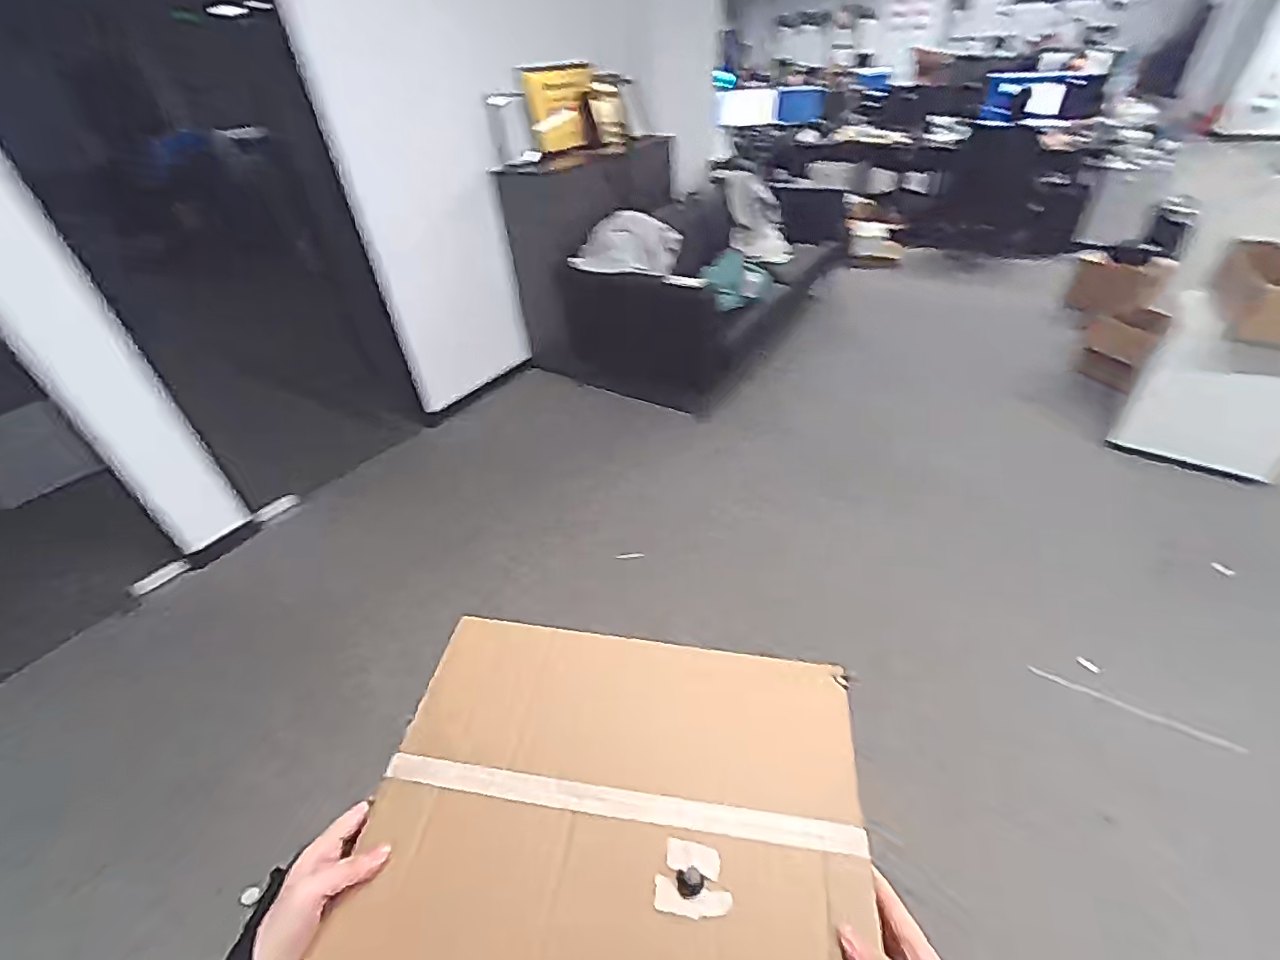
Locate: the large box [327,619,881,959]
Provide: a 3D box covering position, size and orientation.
[{"bbox_3d":[-0.012,0.386,0.568,0.408,0.320,0.320,7,42,6],"label":"large box"}]
